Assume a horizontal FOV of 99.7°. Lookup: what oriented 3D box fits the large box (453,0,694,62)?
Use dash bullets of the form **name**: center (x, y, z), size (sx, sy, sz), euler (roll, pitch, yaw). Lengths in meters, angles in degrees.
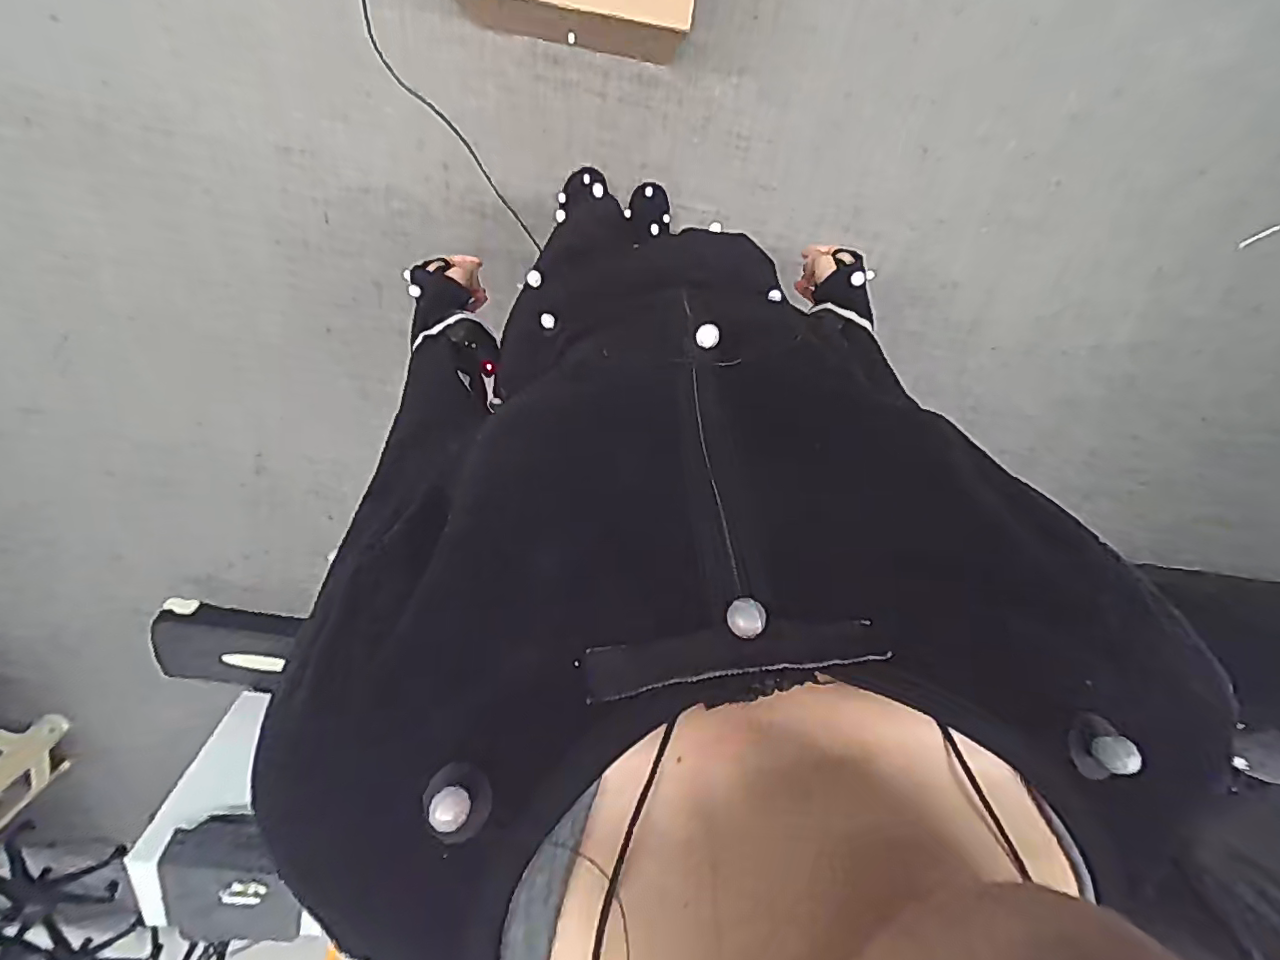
- **large box**: center (-0.101, -0.954, 0.922), size (0.408, 0.320, 0.320), euler (6, 118, -6)
